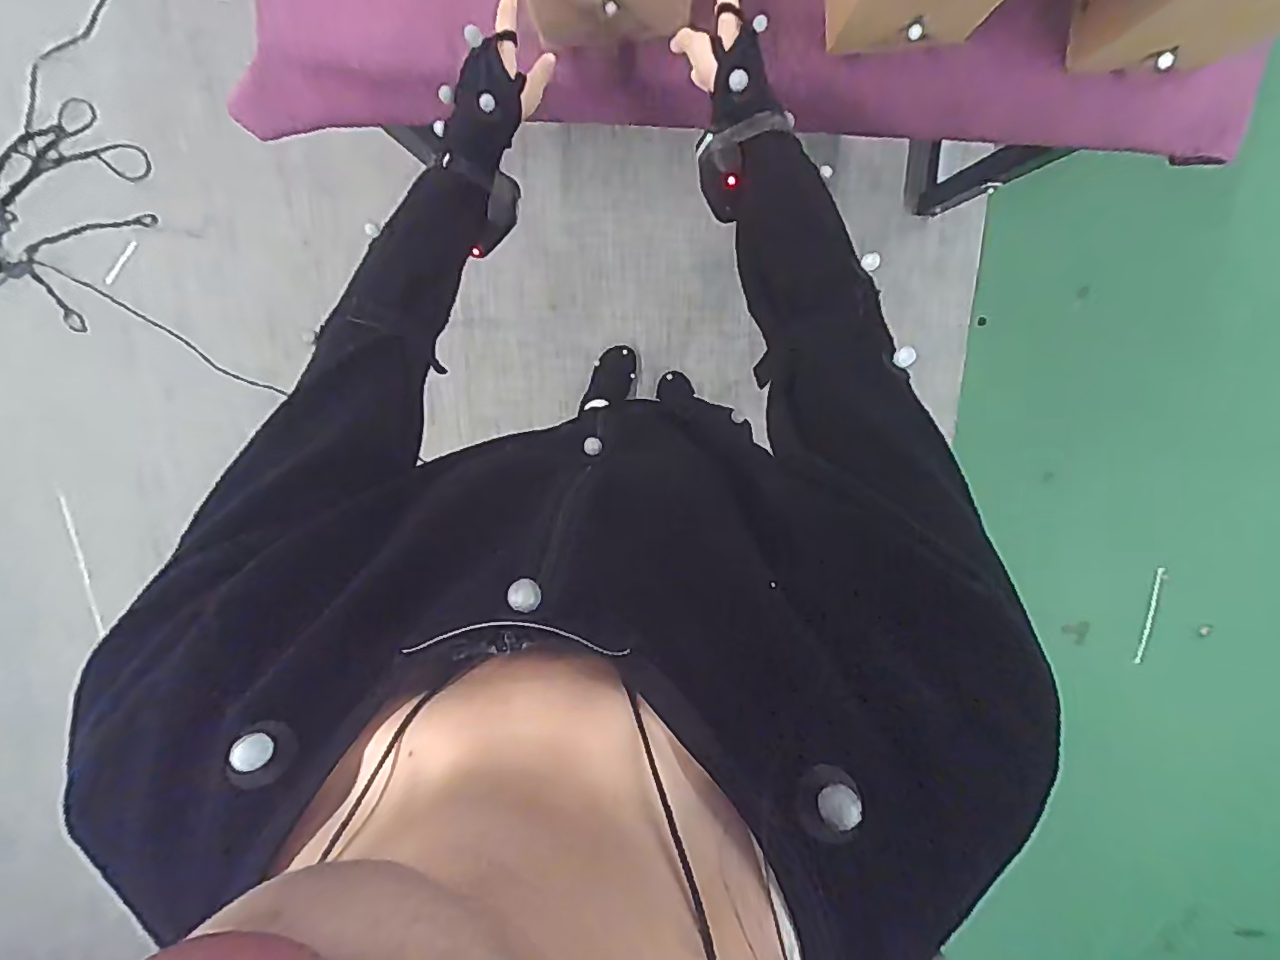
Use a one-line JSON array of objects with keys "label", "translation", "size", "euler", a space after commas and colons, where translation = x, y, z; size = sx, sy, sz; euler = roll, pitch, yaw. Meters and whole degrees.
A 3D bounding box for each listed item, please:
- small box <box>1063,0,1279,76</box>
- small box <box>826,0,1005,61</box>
[{"label": "small box", "translation": [0.593, -0.550, 0.556], "size": [0.179, 0.176, 0.168], "euler": [-2, 103, 2]}, {"label": "small box", "translation": [0.296, -0.579, 0.553], "size": [0.168, 0.176, 0.179], "euler": [-5, 102, 2]}]
